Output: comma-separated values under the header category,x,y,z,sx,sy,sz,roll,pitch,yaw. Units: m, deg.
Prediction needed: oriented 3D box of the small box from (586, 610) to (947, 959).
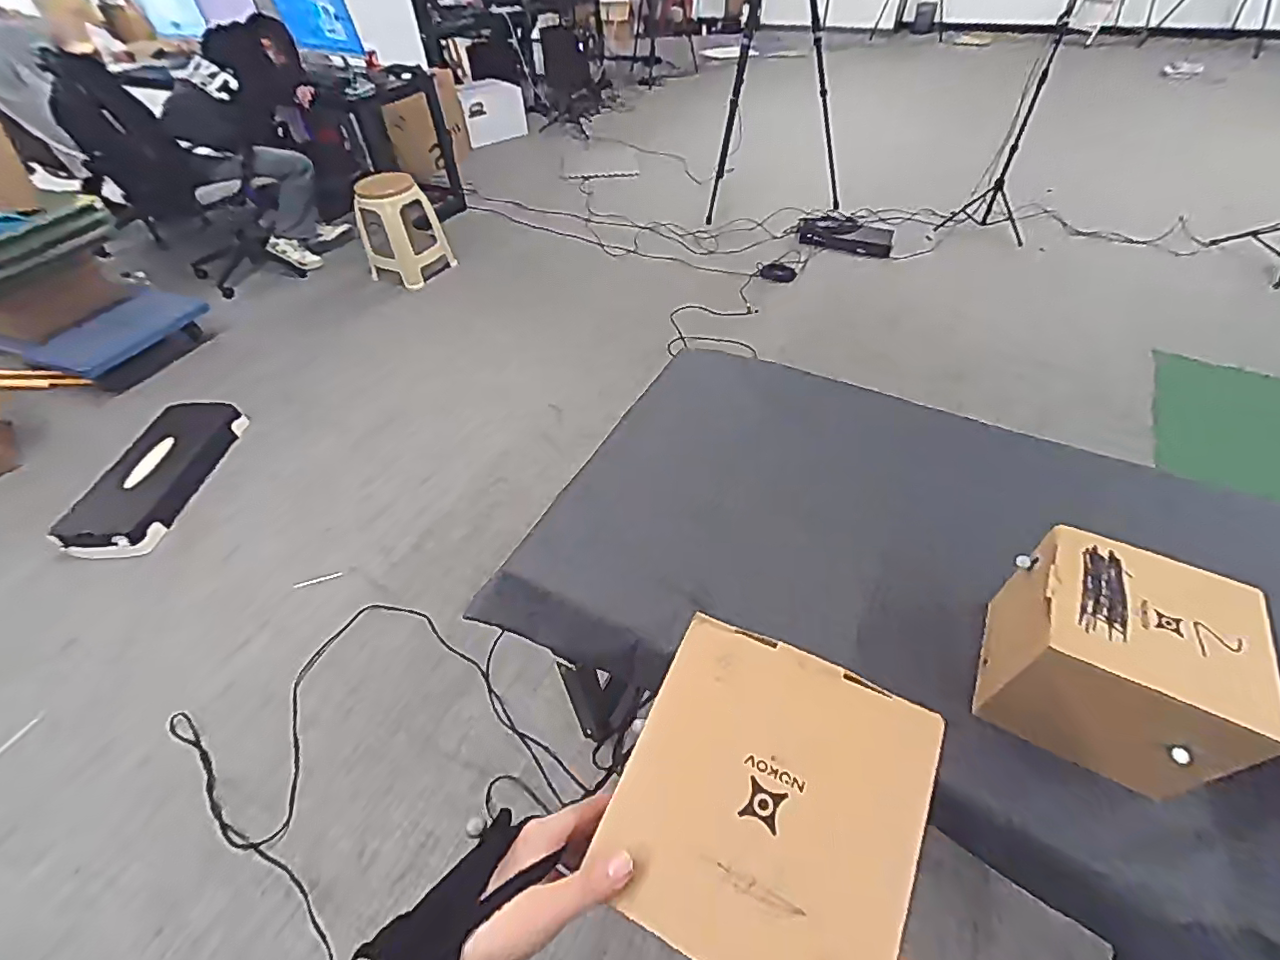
category,x,y,z,sx,sy,sz,roll,pitch,yaw
small box,0.087,0.226,0.382,0.168,0.176,0.179,19,63,21
